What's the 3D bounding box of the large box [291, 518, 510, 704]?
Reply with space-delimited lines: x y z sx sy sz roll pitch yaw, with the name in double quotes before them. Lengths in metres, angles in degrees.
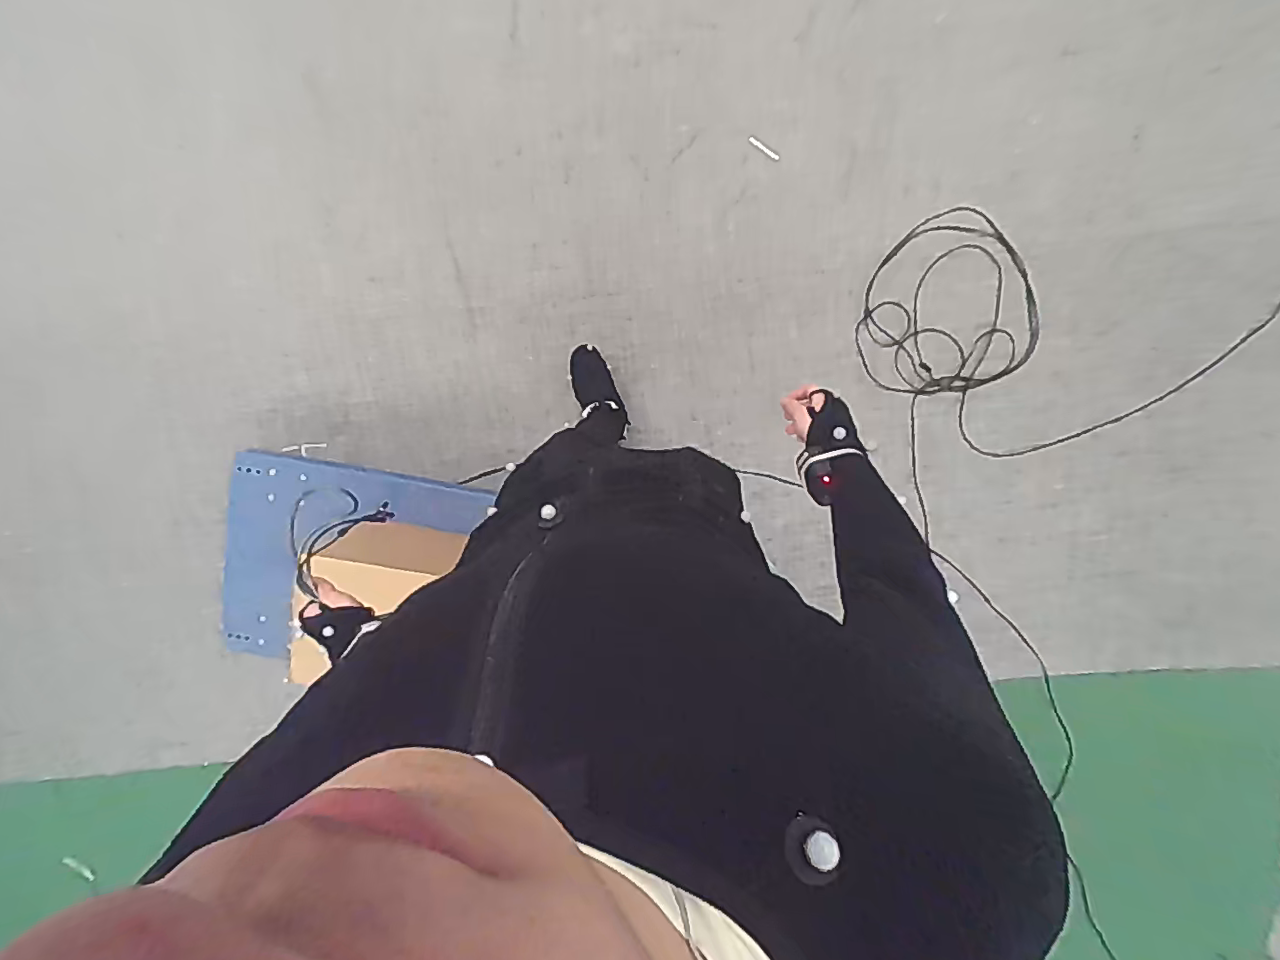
"large box" -0.564 0.303 1.336 0.408 0.320 0.320 10 100 -1
